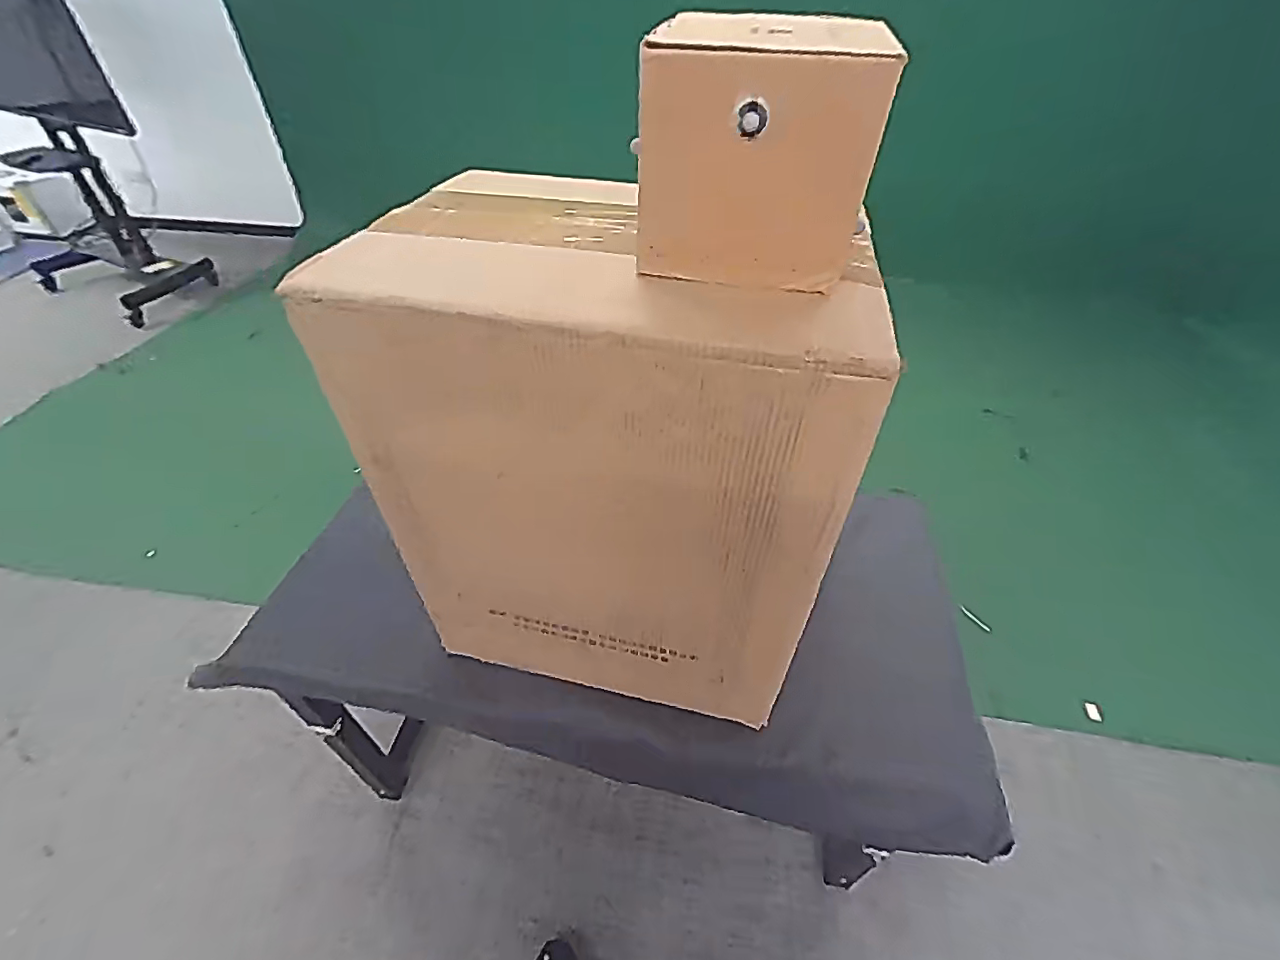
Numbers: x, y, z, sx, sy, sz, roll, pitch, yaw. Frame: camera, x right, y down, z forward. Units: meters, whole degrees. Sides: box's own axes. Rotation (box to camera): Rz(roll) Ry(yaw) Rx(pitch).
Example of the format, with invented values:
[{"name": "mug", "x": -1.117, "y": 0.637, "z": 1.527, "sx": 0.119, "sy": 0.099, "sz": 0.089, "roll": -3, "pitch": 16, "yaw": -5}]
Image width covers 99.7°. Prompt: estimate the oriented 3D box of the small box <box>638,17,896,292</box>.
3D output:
[{"name": "small box", "x": 0.098, "y": -0.284, "z": 0.475, "sx": 0.179, "sy": 0.176, "sz": 0.168, "roll": 10, "pitch": 47, "yaw": 7}]
